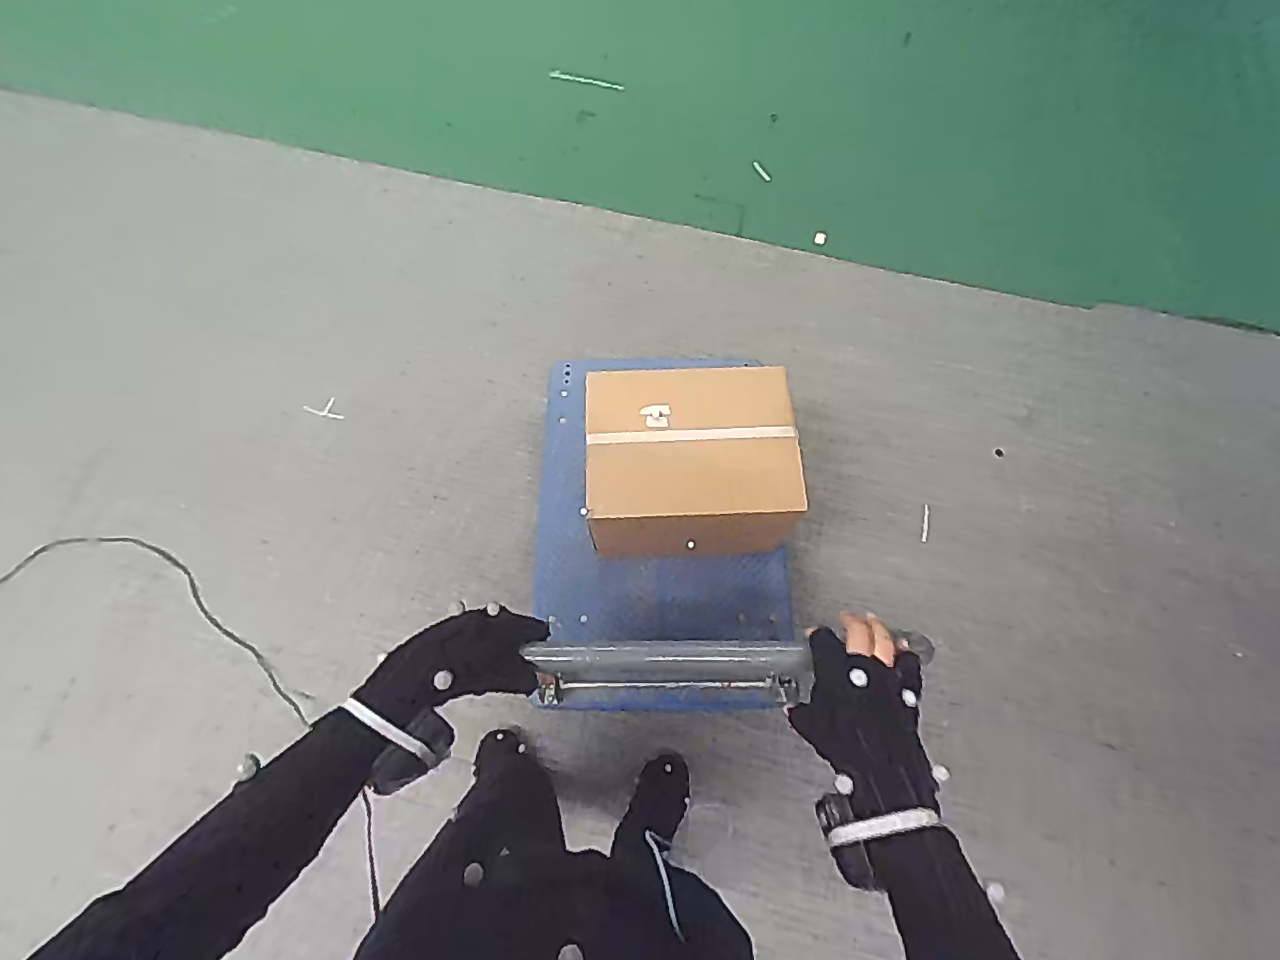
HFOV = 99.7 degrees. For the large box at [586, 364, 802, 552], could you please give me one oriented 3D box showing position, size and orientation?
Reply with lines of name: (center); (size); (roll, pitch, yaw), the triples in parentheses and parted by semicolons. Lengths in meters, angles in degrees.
large box: (0.100, -0.031, 1.189); (0.408, 0.320, 0.320); (-3, 68, 0)
